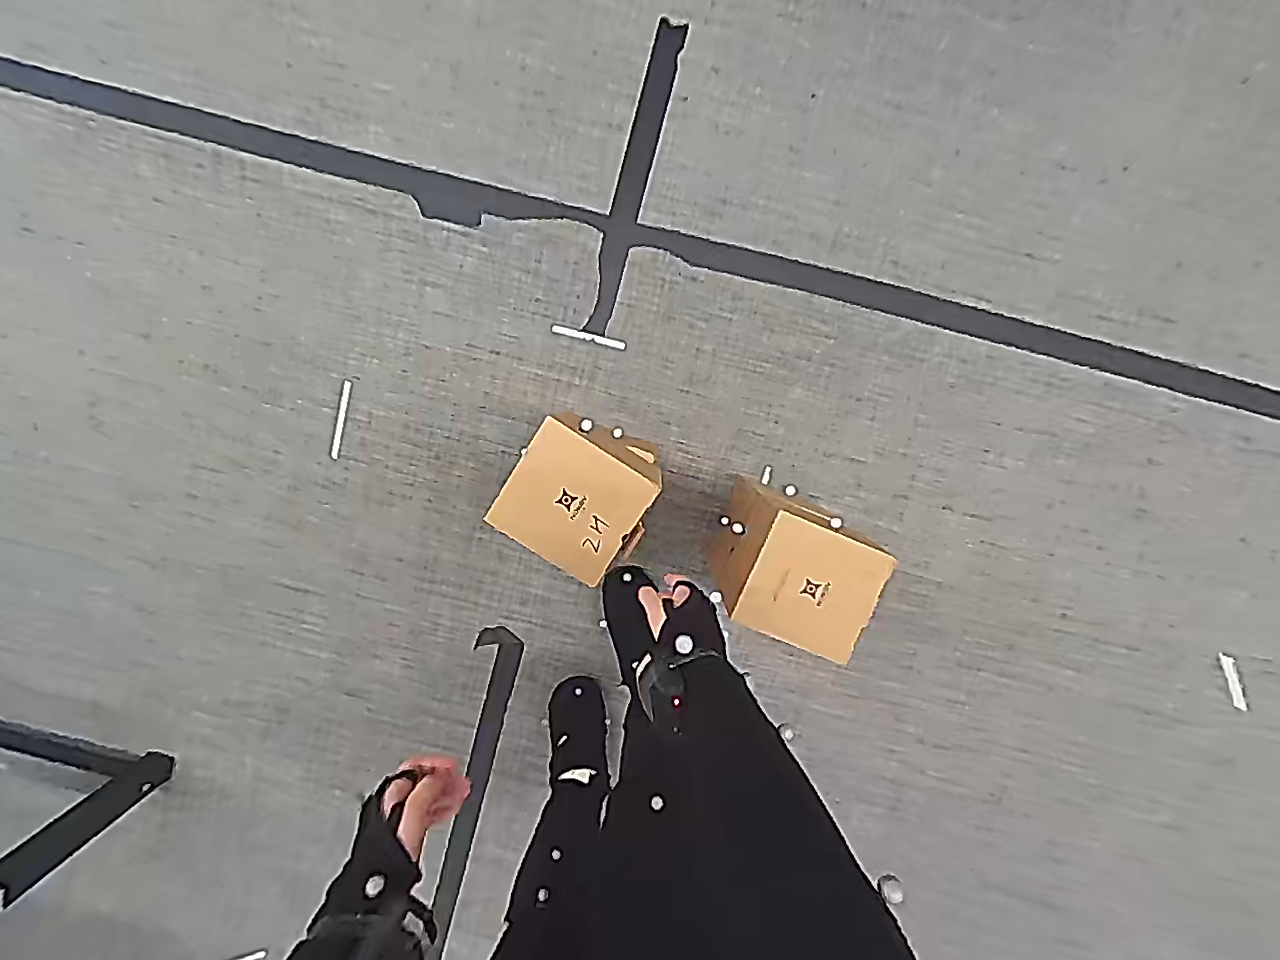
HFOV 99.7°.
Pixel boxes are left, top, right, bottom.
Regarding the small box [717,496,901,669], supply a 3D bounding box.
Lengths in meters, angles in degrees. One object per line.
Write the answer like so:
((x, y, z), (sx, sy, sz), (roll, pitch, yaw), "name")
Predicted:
((0.230, 0.136, 0.787), (0.179, 0.176, 0.168), (24, 98, -3), "small box")

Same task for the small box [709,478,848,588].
((0.229, 0.113, 0.949), (0.168, 0.176, 0.179), (22, 98, -3), "small box")

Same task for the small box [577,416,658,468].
((-0.081, -0.006, 0.933), (0.179, 0.176, 0.168), (21, 99, -3), "small box")

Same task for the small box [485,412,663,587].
((-0.084, 0.018, 0.770), (0.179, 0.176, 0.168), (34, 99, -4), "small box")
